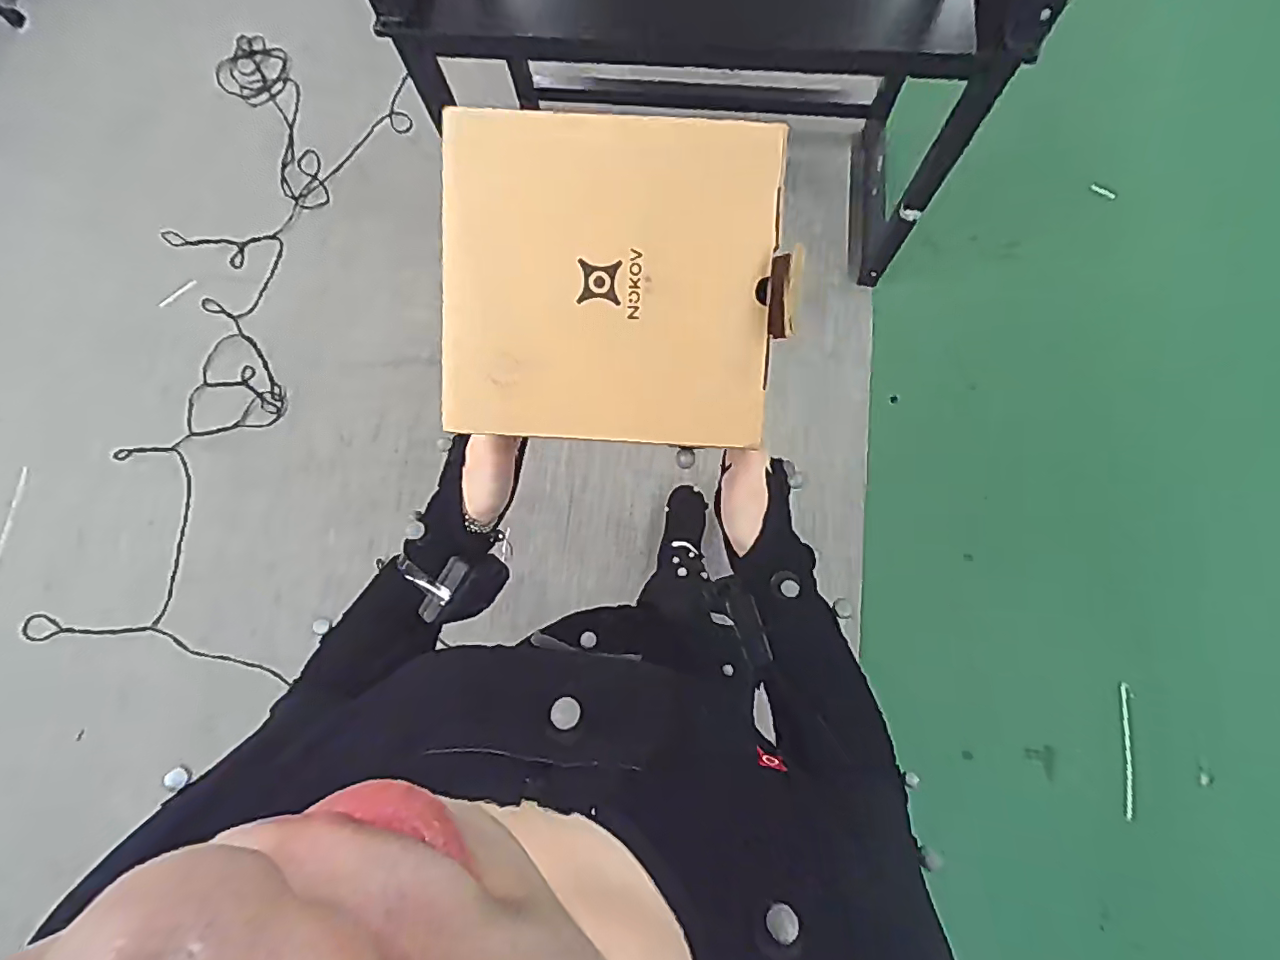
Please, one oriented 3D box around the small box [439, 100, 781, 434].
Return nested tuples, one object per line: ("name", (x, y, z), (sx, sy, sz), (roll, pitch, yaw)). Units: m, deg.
("small box", (-0.017, -0.118, 0.363), (0.179, 0.176, 0.168), (2, 98, 0))
